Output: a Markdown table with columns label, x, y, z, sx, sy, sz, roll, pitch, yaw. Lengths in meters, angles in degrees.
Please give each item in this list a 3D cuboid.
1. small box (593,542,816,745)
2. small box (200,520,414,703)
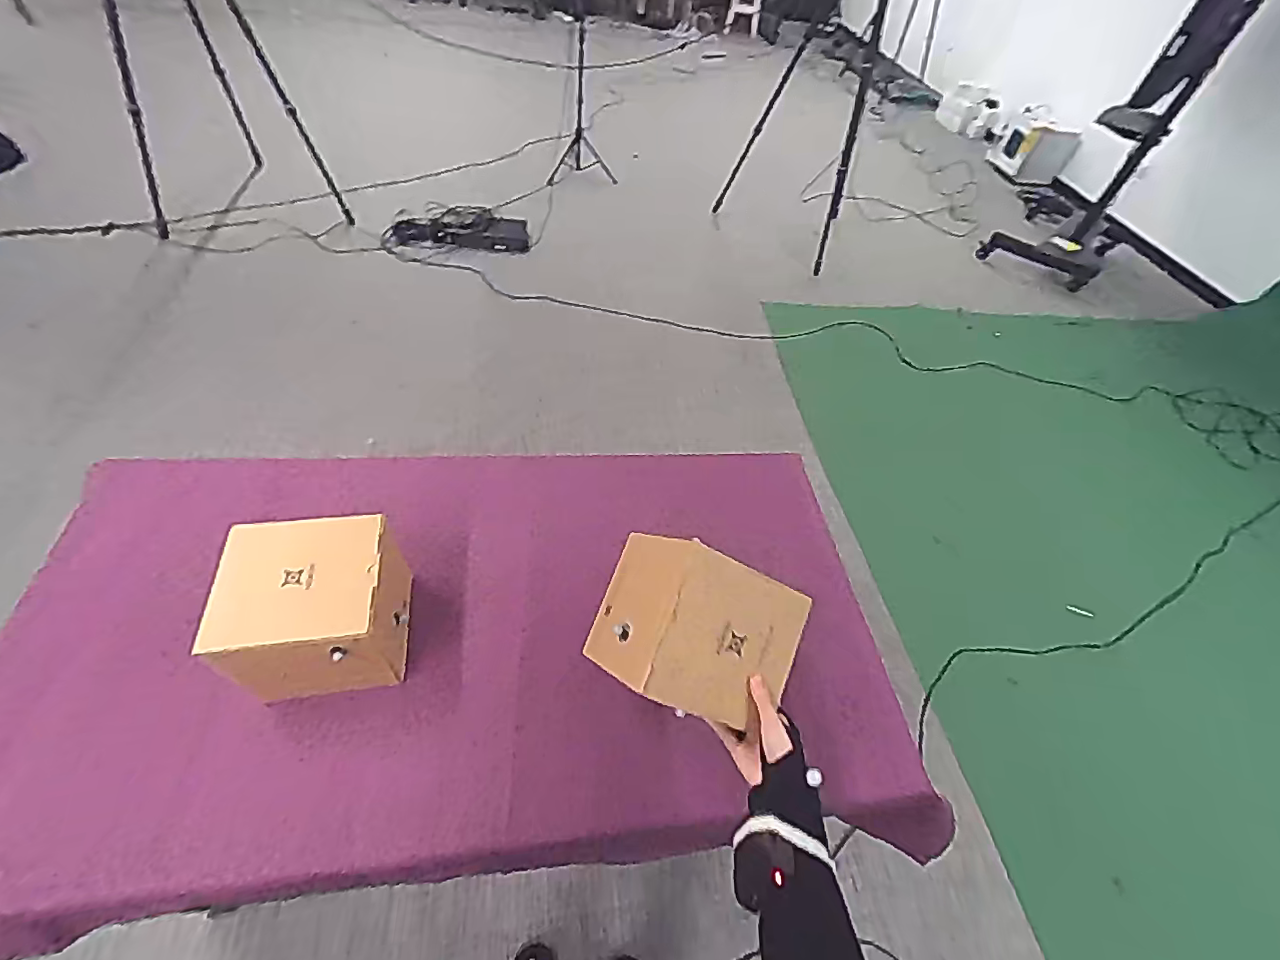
| label | x | y | z | sx | sy | sz | roll | pitch | yaw |
| --- | --- | --- | --- | --- | --- | --- | --- | --- | --- |
| small box | 0.068 | 0.182 | 0.647 | 0.179 | 0.176 | 0.168 | 29 | 78 | -24 |
| small box | -0.407 | 0.173 | 0.699 | 0.179 | 0.176 | 0.168 | -4 | 51 | -13 |
